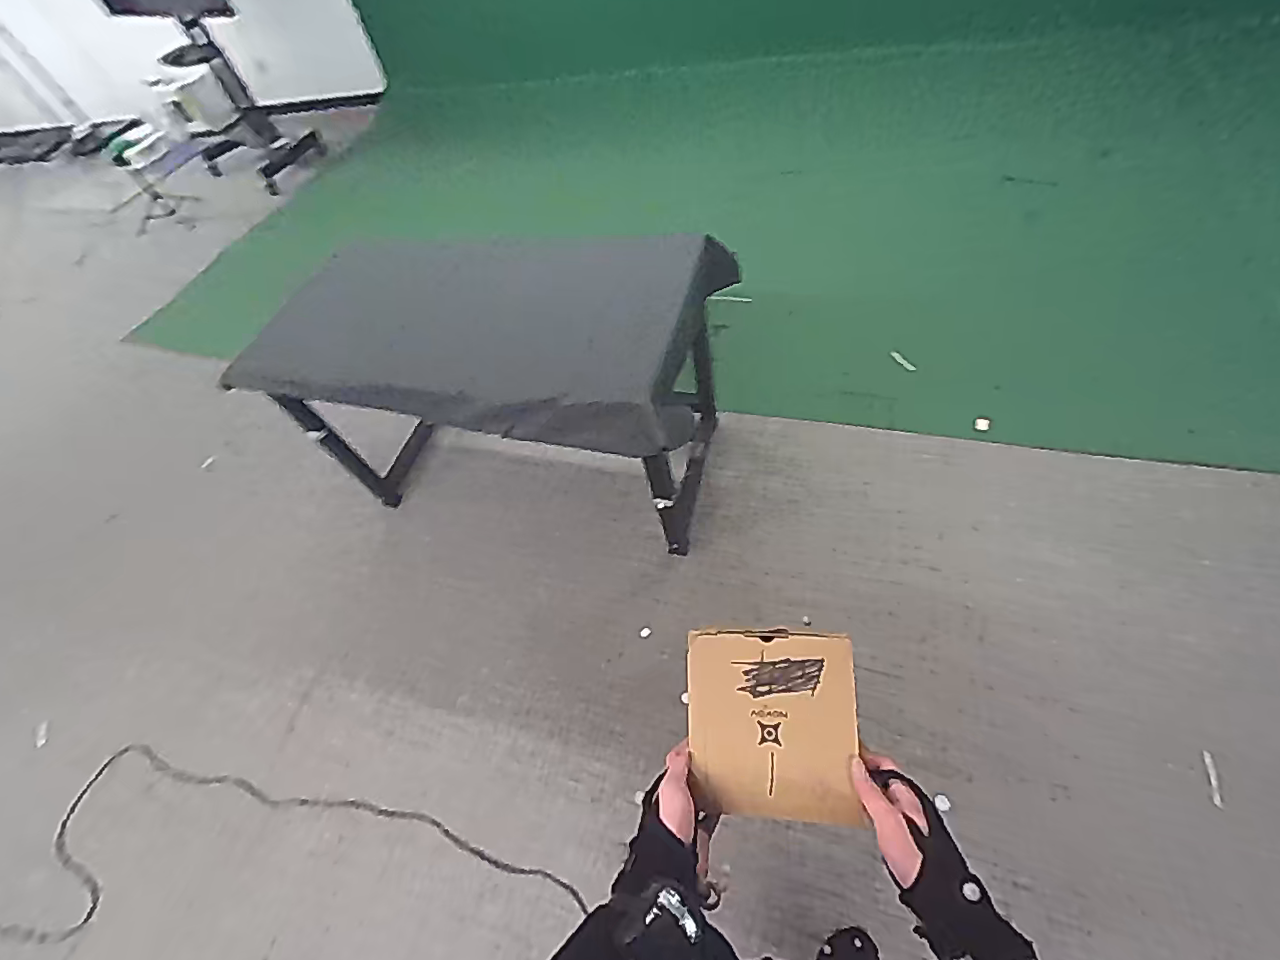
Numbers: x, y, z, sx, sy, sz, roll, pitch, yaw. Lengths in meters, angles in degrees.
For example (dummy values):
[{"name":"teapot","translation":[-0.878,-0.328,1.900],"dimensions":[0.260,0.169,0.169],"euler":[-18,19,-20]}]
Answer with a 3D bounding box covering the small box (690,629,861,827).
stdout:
[{"name":"small box","translation":[0.148,0.267,0.625],"dimensions":[0.168,0.176,0.179],"euler":[-3,78,12]}]
